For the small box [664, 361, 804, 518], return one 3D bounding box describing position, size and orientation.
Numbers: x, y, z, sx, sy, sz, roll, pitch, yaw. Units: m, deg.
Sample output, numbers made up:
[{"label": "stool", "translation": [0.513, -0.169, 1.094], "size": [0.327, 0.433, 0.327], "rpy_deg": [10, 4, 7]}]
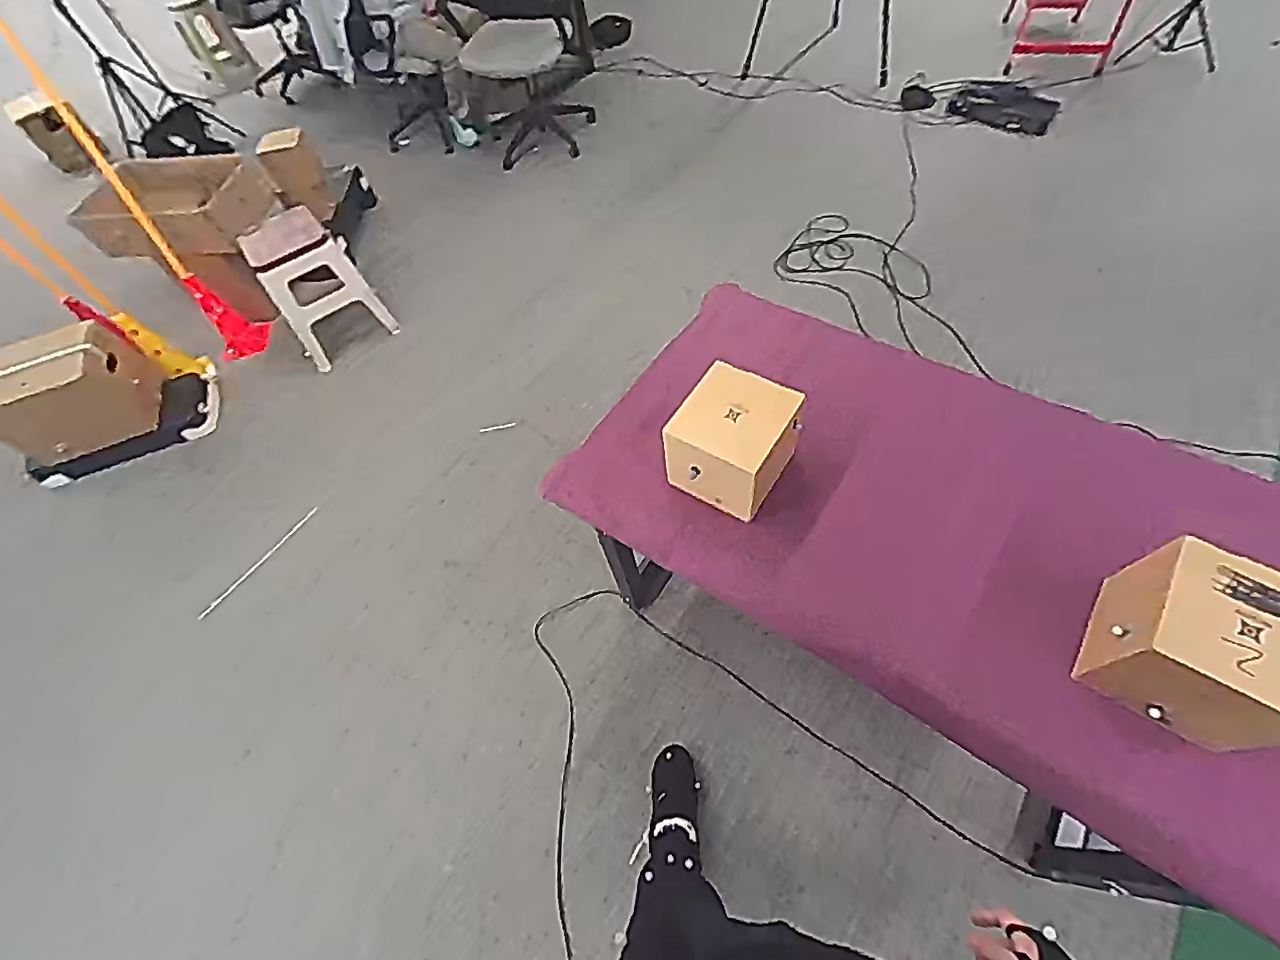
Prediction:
[{"label": "small box", "translation": [0.159, -0.064, 0.924], "size": [0.168, 0.176, 0.179], "rpy_deg": [27, 64, 21]}]
